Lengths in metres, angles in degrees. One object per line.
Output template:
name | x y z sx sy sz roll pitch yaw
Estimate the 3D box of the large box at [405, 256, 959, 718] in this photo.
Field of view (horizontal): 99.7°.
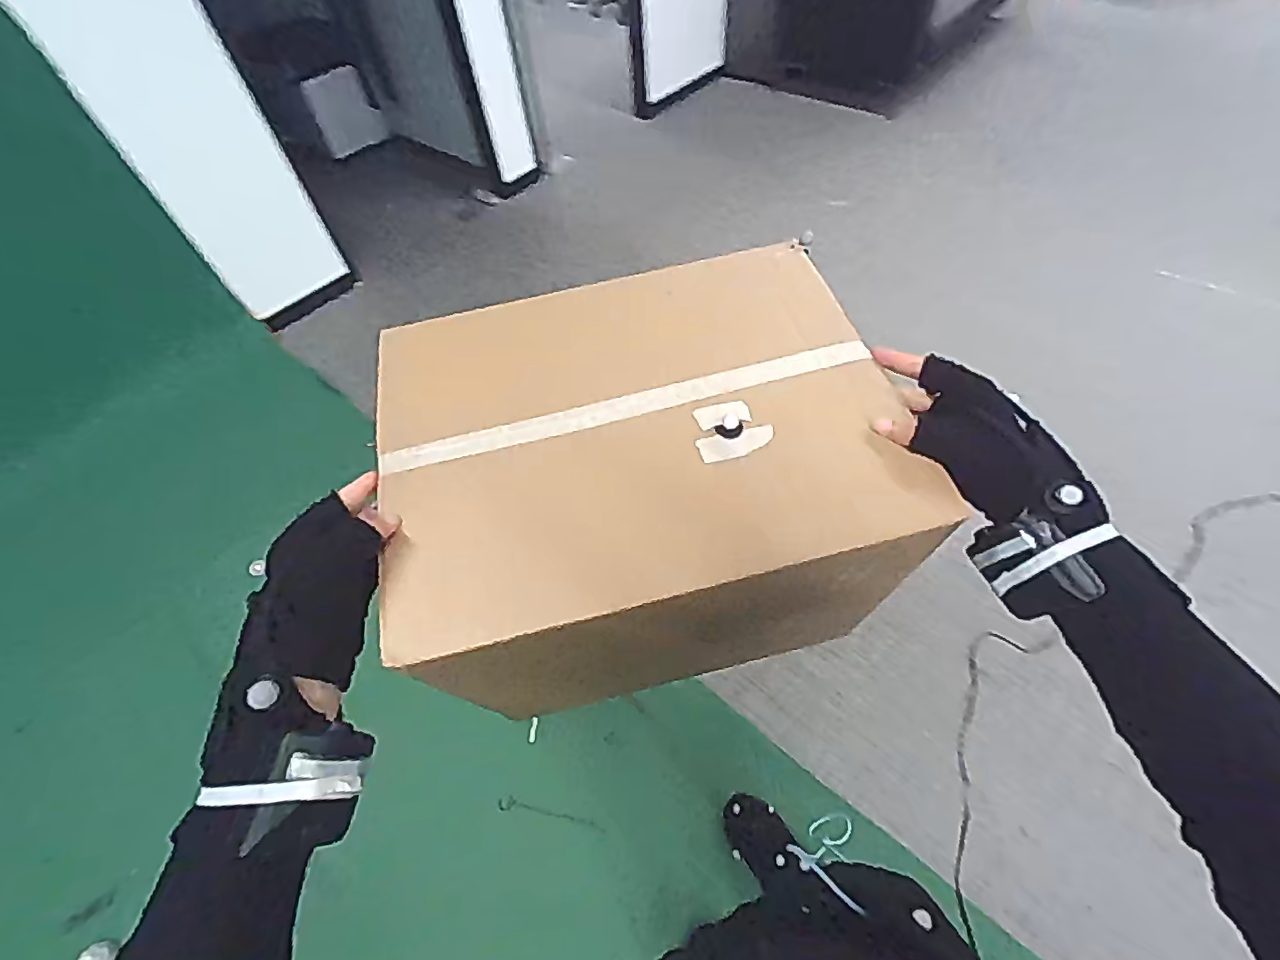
large box | 0.013 0.024 0.576 0.408 0.320 0.320 -13 60 -4
